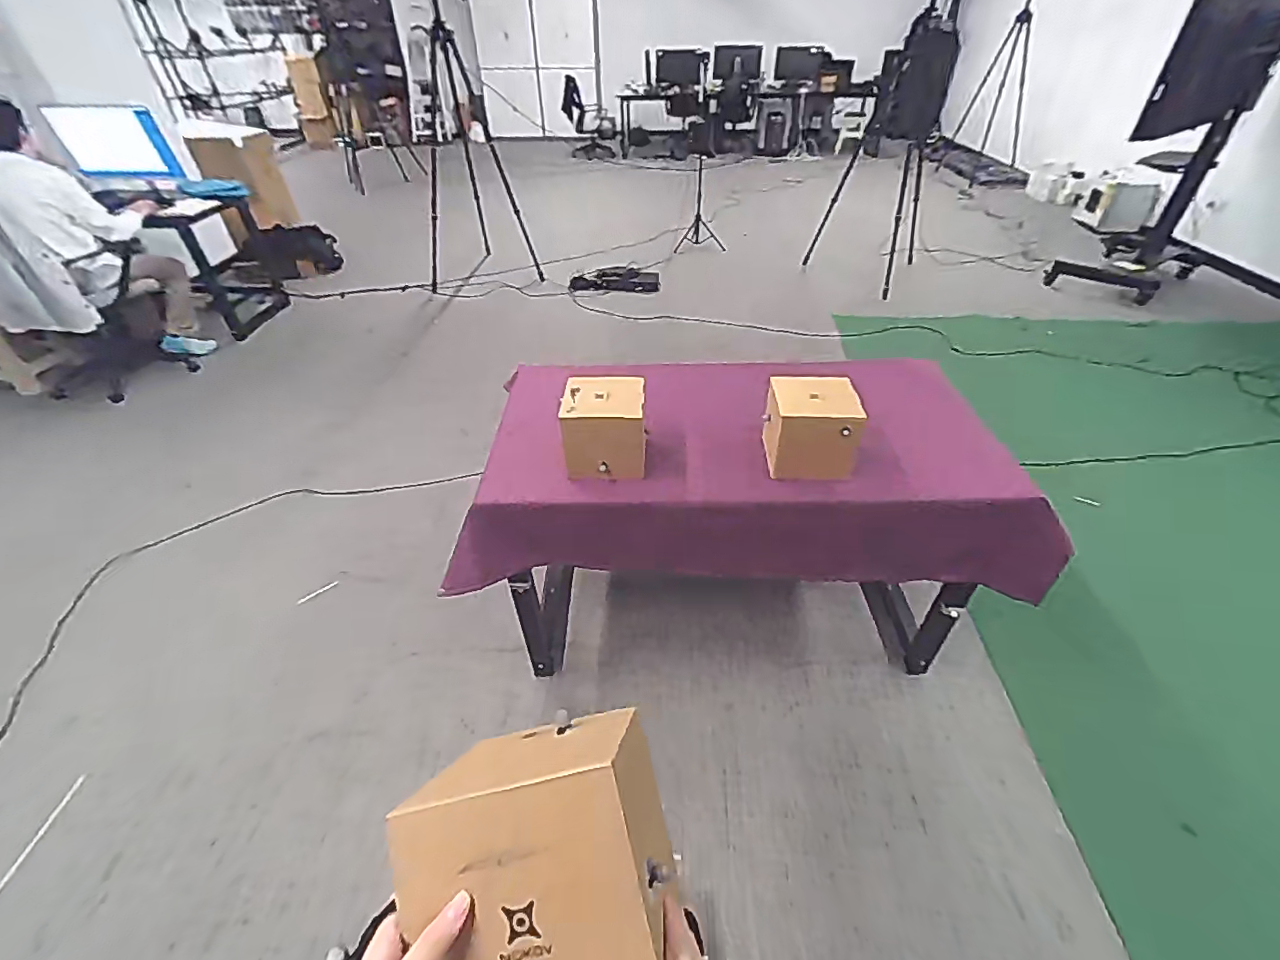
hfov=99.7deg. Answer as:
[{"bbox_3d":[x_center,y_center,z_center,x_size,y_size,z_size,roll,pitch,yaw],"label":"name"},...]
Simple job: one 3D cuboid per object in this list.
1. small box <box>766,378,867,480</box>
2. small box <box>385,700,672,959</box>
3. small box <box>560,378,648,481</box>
[{"bbox_3d":[0.378,-0.113,1.198,0.179,0.176,0.168,2,40,3],"label":"small box"},{"bbox_3d":[-0.073,0.301,0.438,0.168,0.176,0.179,-14,79,3],"label":"small box"},{"bbox_3d":[-0.074,-0.112,1.212,0.179,0.176,0.168,1,40,2],"label":"small box"}]
